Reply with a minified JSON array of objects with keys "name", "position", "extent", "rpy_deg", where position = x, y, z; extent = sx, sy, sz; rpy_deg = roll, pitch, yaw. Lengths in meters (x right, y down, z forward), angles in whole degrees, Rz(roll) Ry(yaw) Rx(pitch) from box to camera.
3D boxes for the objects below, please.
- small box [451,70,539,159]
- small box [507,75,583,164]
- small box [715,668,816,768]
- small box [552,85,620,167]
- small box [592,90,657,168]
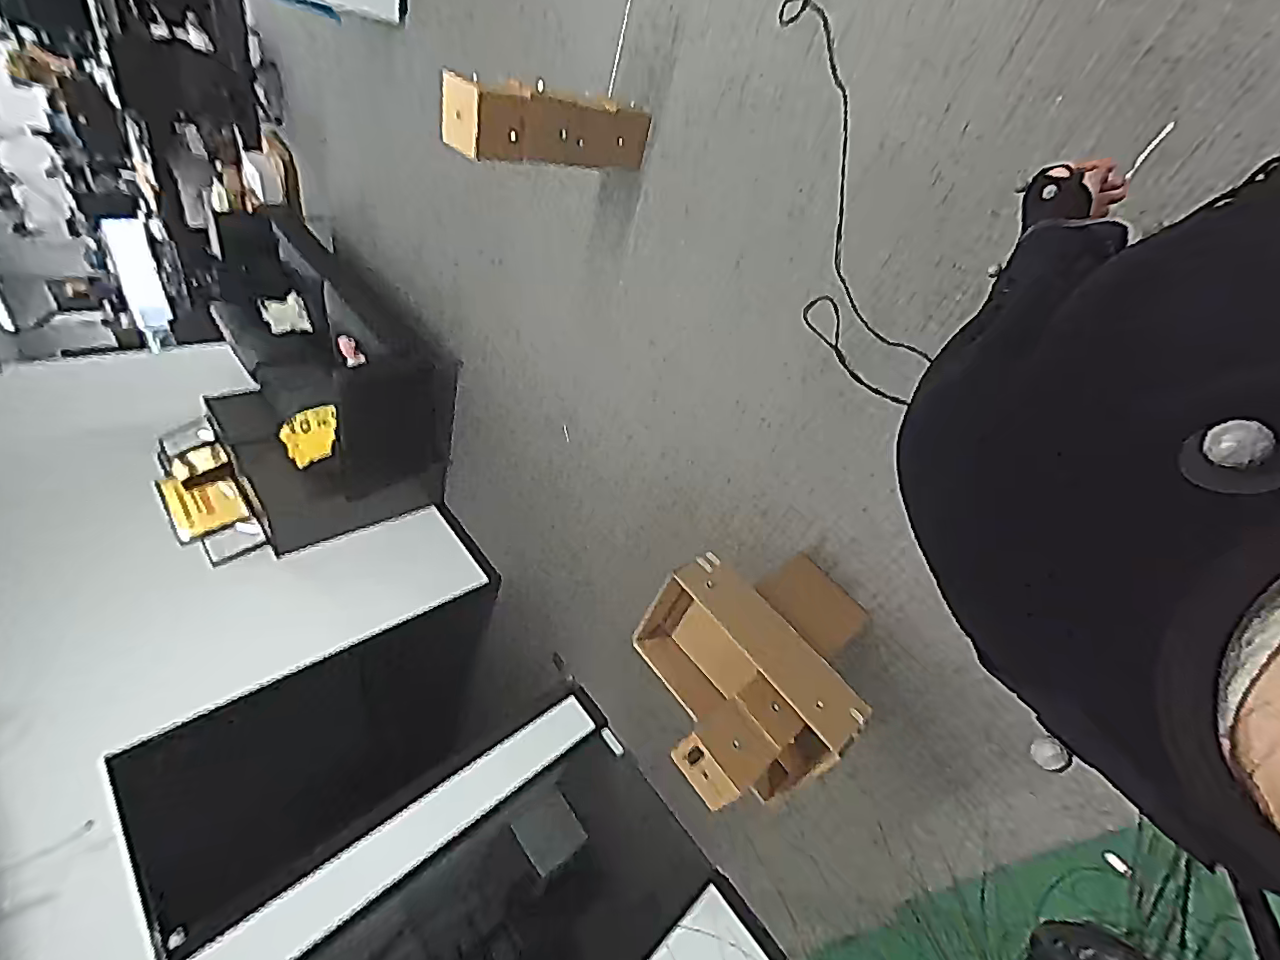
[{"name":"small box","position":[-0.409,-1.019,1.517],"extent":[0.179,0.176,0.168],"rpy_deg":[42,134,26]},{"name":"small box","position":[-0.293,-1.072,1.618],"extent":[0.168,0.176,0.179],"rpy_deg":[43,134,27]},{"name":"small box","position":[0.349,0.653,1.506],"extent":[0.179,0.176,0.168],"rpy_deg":[47,136,24]},{"name":"small box","position":[-0.187,-1.126,1.731],"extent":[0.168,0.176,0.179],"rpy_deg":[44,135,25]},{"name":"small box","position":[-0.066,-1.180,1.828],"extent":[0.168,0.176,0.179],"rpy_deg":[44,135,26]}]
